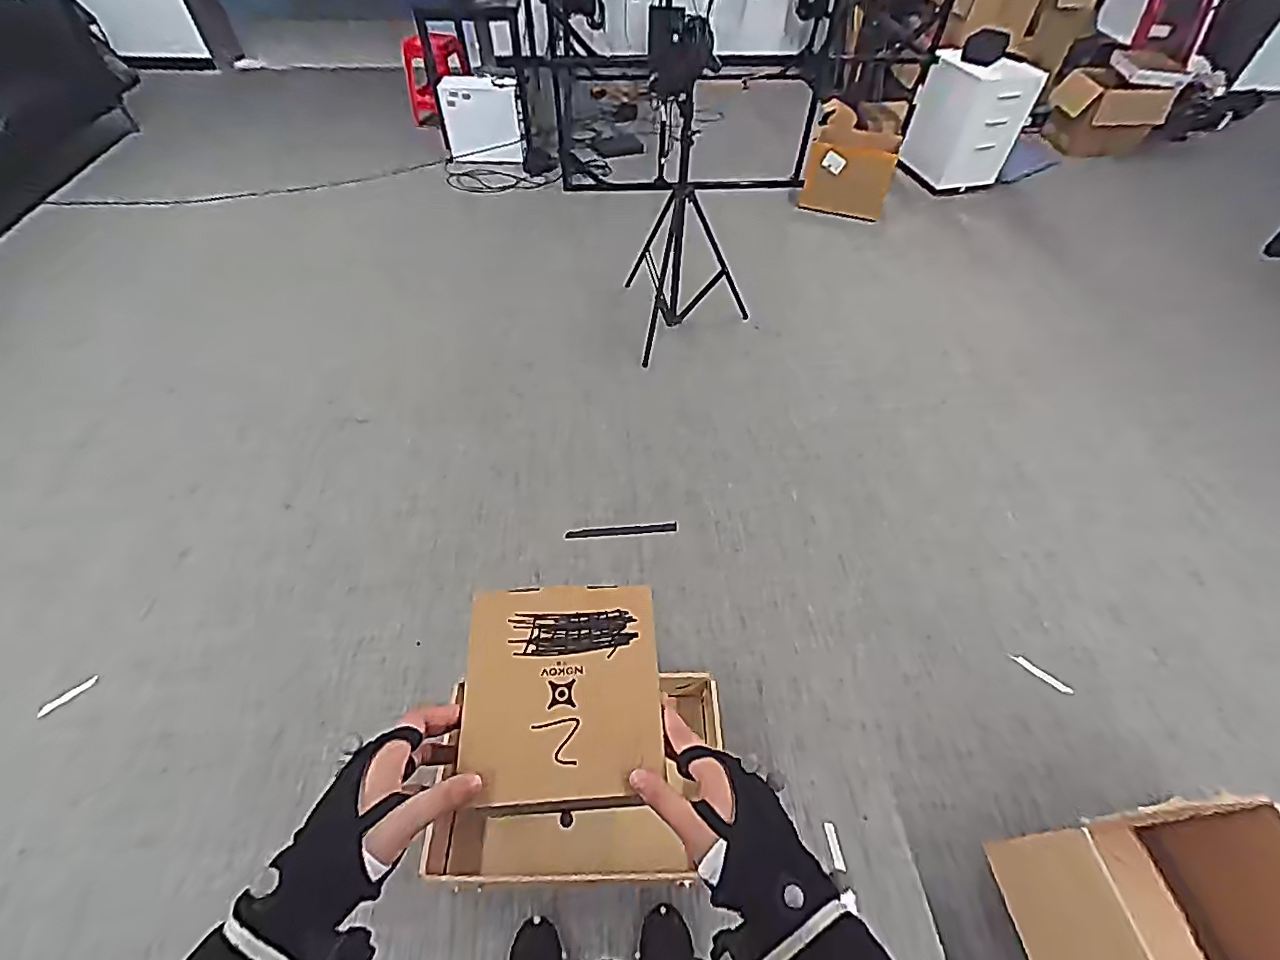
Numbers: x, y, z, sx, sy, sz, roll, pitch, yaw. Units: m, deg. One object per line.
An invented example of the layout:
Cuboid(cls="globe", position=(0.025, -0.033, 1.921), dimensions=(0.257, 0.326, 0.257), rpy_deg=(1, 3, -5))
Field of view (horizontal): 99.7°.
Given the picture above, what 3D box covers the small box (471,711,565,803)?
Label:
Cuboid(cls="small box", position=(-0.269, 0.635, 1.235), dimensions=(0.179, 0.176, 0.168), rpy_deg=(1, 54, -3))
